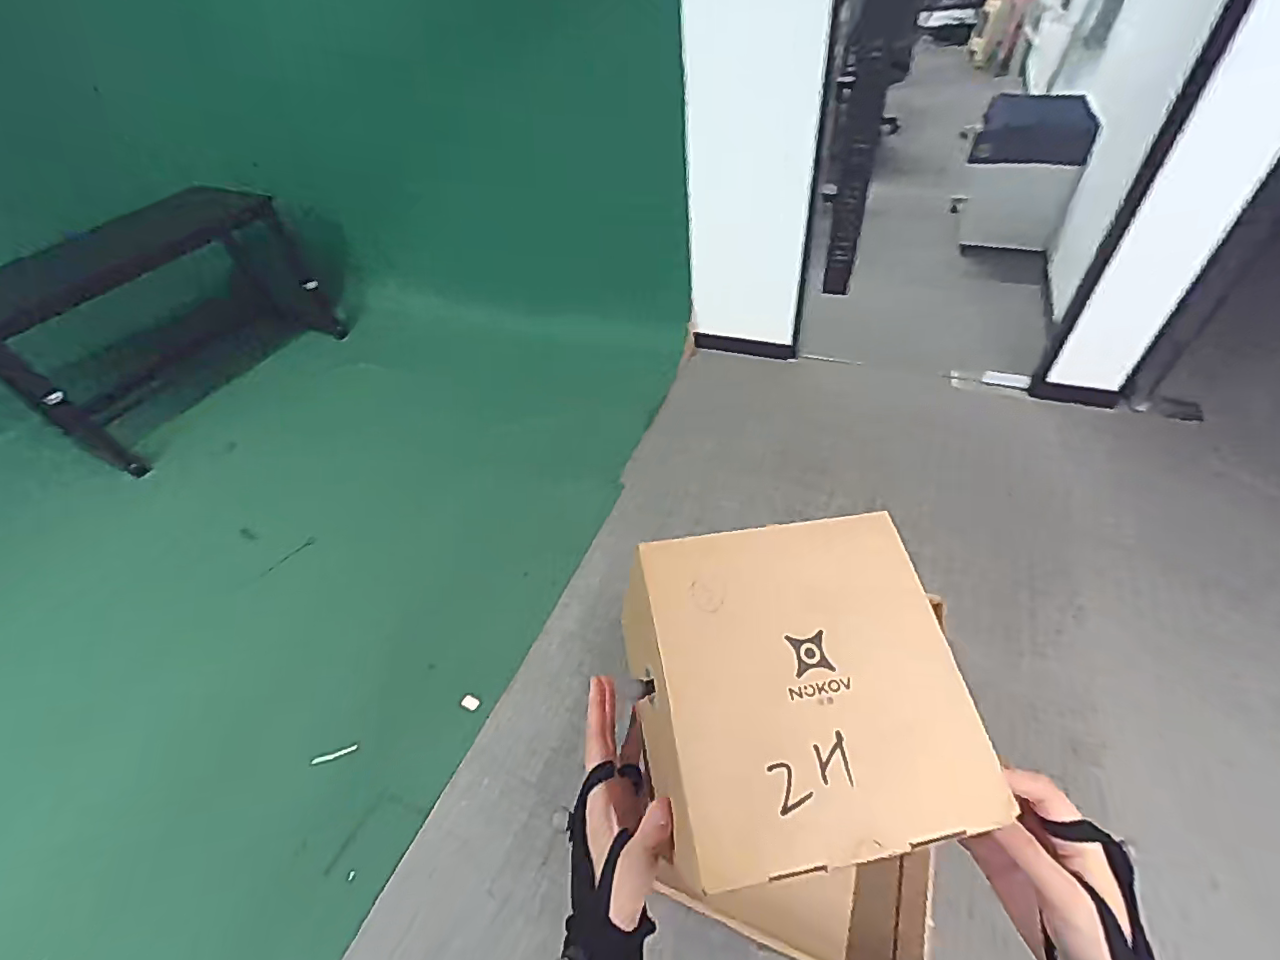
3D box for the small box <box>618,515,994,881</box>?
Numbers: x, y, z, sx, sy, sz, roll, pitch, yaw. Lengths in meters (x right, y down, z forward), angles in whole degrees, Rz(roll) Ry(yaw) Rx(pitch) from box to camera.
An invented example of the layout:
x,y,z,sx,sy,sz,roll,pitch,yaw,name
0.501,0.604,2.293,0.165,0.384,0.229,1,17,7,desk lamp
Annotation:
x,y,z,sx,sy,sz,roll,pitch,yaw,name
0.080,0.144,0.371,0.168,0.176,0.179,-6,61,-9,small box
